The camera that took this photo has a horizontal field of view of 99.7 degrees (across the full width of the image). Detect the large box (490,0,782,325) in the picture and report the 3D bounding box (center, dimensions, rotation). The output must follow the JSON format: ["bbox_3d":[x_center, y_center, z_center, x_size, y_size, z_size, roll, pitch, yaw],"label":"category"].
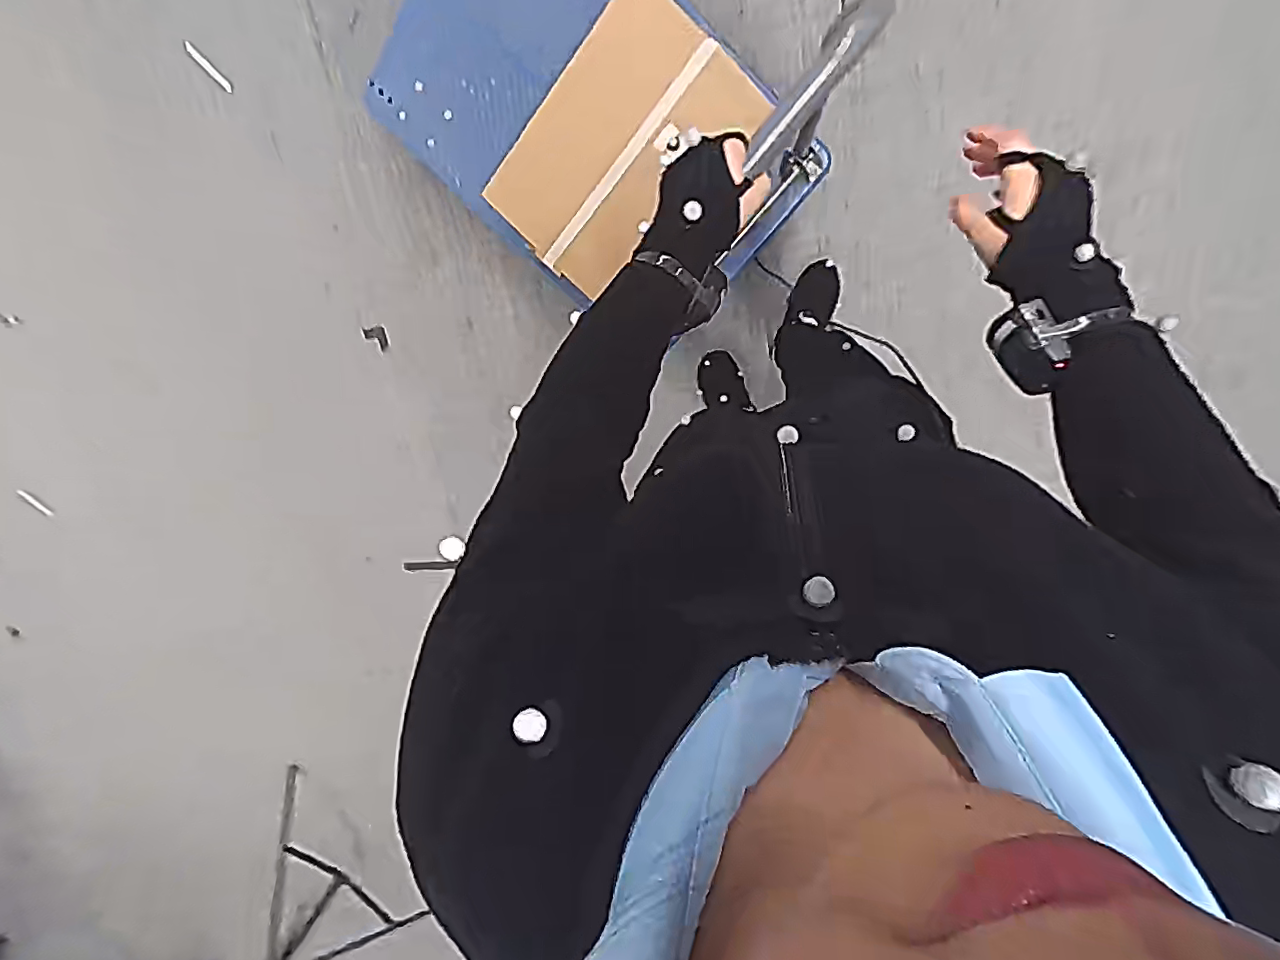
[{"bbox_3d":[0.002,-0.548,1.013,0.320,0.320,0.408,42,109,-7],"label":"large box"}]
